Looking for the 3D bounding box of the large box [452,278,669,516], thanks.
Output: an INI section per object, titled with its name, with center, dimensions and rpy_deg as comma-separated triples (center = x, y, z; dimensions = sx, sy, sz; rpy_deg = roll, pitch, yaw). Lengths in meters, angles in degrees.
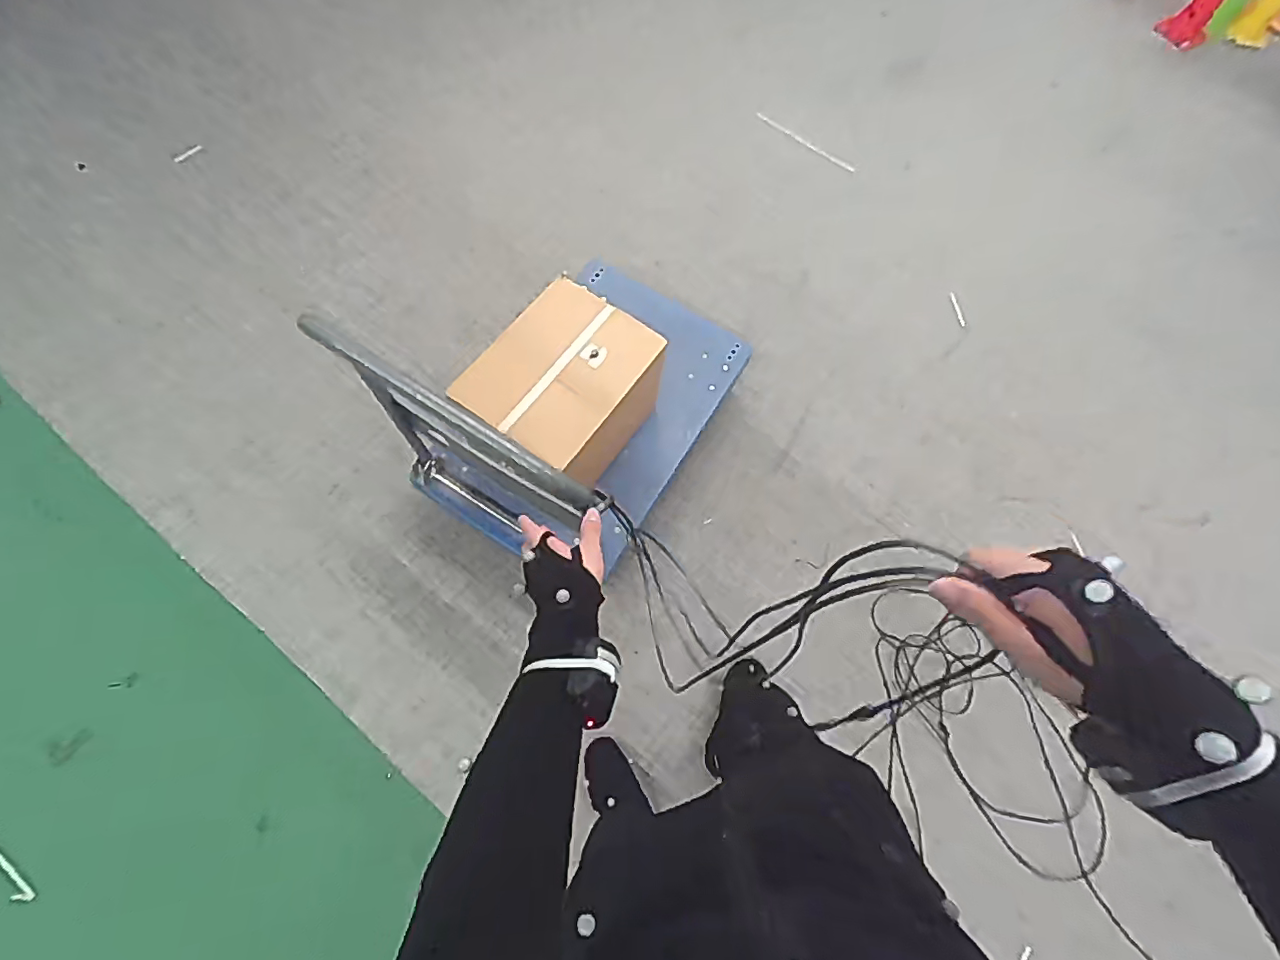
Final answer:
[large box]
center = -0.176, -0.187, 1.310
dimensions = 0.320, 0.320, 0.408
rpy_deg = 34, 70, 8
